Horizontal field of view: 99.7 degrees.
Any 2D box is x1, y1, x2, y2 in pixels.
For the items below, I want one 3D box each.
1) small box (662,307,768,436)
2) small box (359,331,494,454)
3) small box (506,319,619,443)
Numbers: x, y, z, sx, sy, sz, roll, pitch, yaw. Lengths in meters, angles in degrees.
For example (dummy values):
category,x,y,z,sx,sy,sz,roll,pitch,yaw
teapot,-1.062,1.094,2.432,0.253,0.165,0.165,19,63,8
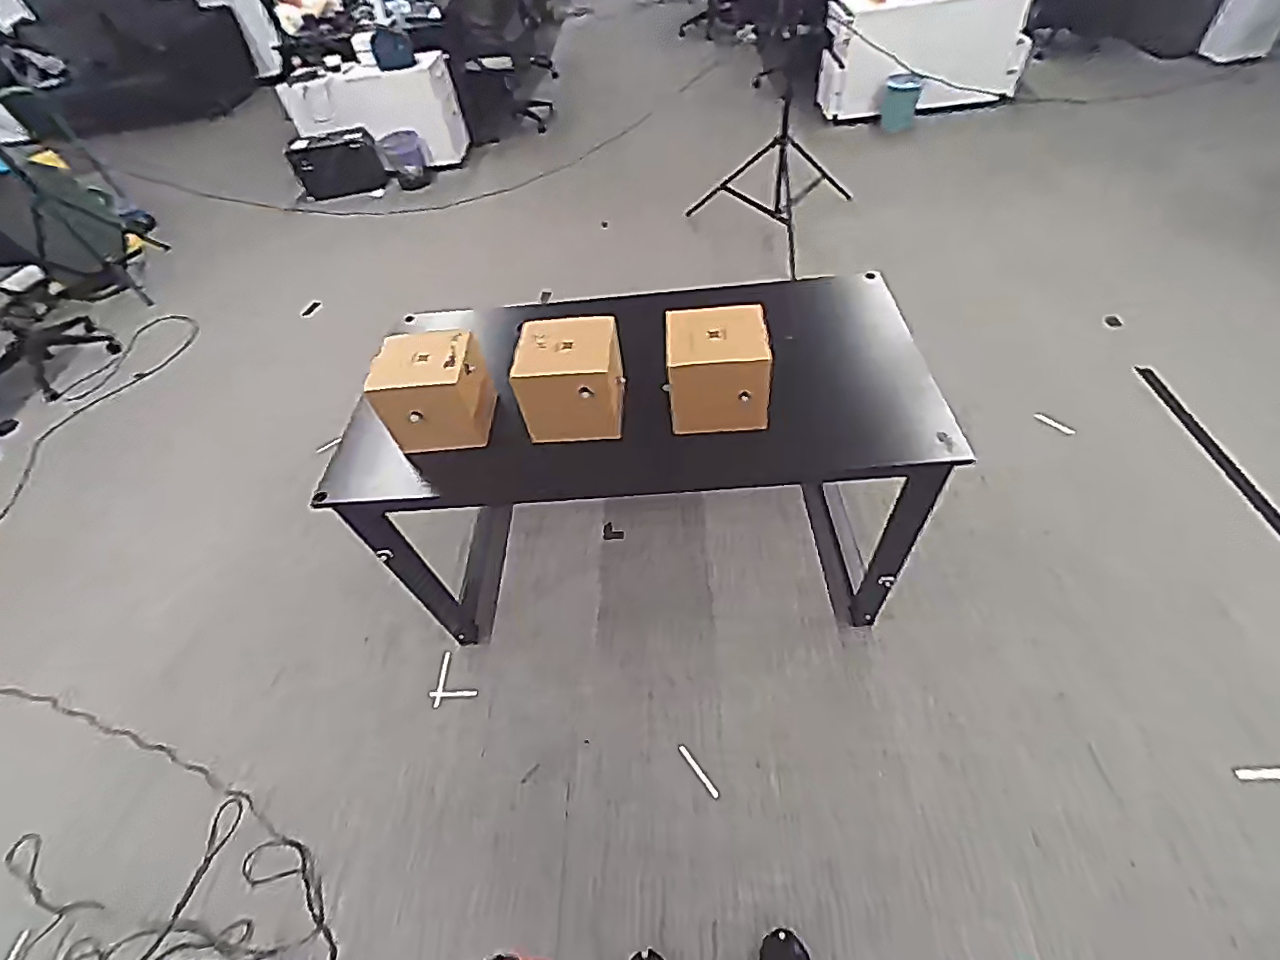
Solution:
category,x,y,z,sx,sy,sz,roll,pitch,yaw
small box,0.135,-0.201,1.018,0.179,0.176,0.168,-4,49,4
small box,-0.408,-0.167,1.067,0.179,0.176,0.168,-6,51,4
small box,-0.137,-0.187,1.044,0.179,0.176,0.168,-3,50,6
